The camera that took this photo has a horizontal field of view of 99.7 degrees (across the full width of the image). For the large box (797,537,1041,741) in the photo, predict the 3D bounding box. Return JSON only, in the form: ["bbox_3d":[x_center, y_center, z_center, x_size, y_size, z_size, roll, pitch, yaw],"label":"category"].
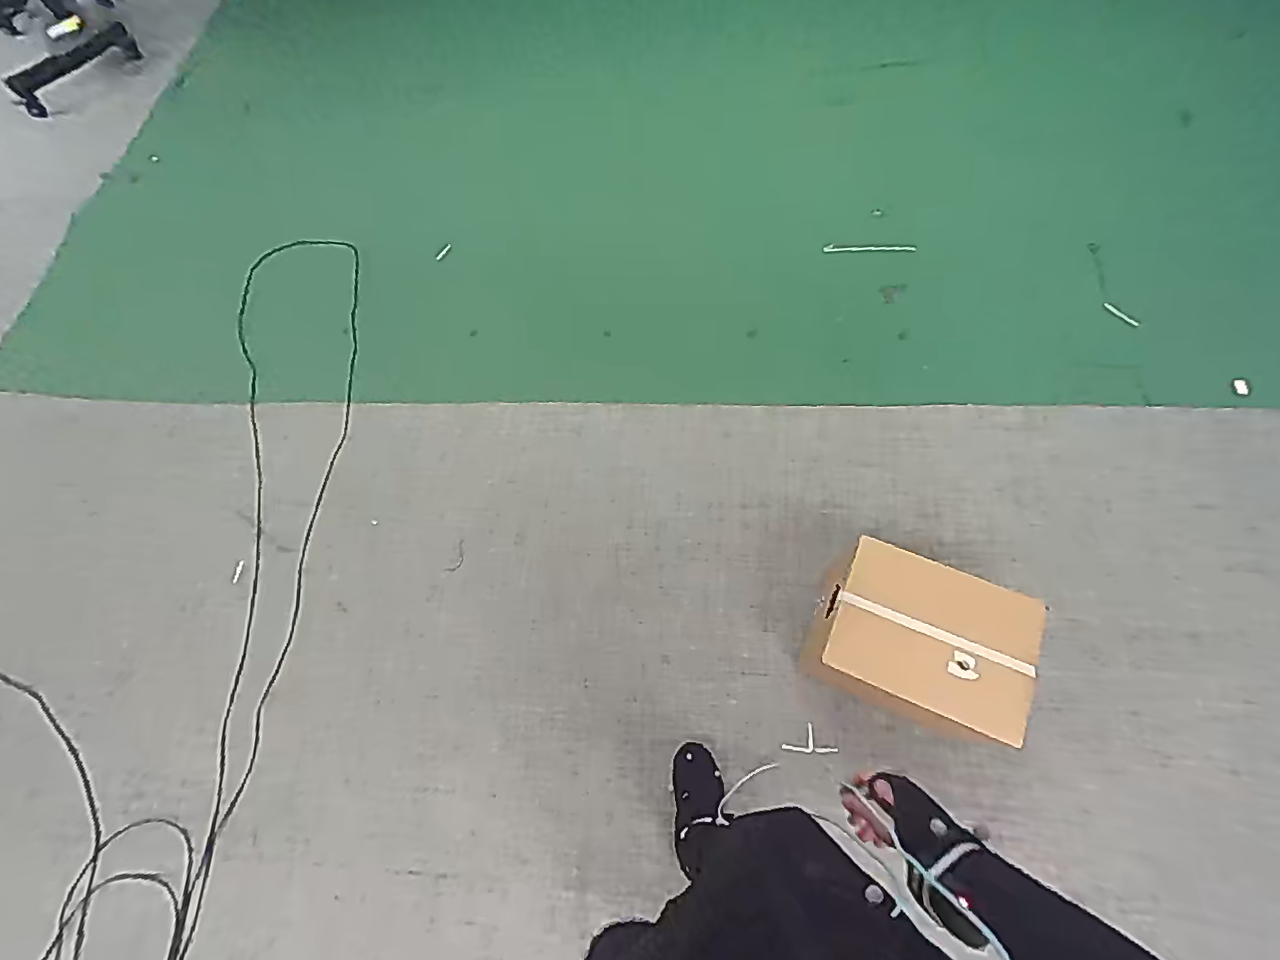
[{"bbox_3d":[0.640,0.385,1.301,0.408,0.320,0.320,21,71,14],"label":"large box"}]
